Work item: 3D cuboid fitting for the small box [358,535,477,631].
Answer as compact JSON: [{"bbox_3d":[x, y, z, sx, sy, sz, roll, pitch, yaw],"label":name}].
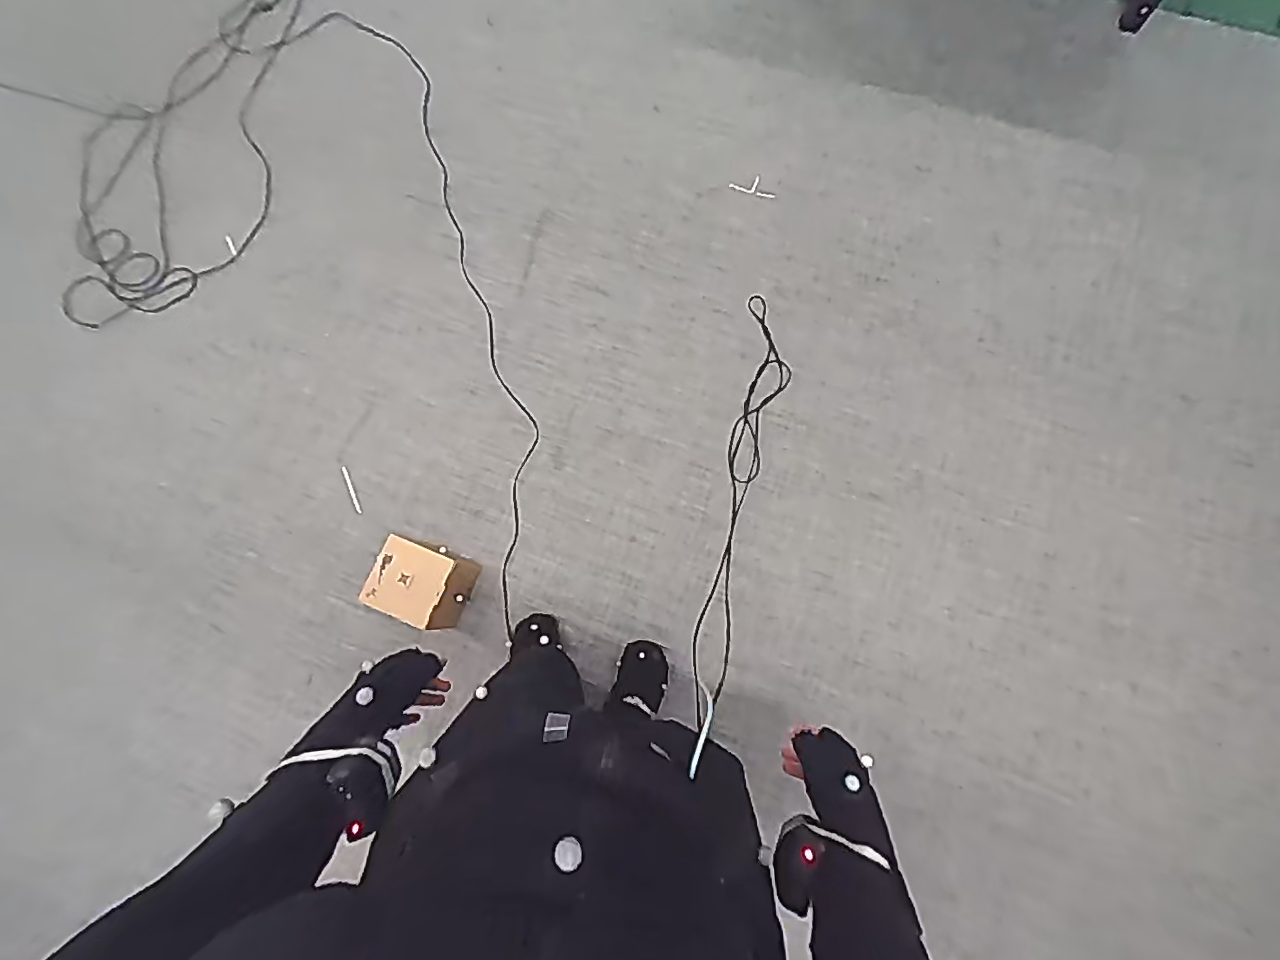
[{"bbox_3d":[-0.516,0.245,1.287,0.179,0.176,0.168,21,79,7],"label":"small box"}]
